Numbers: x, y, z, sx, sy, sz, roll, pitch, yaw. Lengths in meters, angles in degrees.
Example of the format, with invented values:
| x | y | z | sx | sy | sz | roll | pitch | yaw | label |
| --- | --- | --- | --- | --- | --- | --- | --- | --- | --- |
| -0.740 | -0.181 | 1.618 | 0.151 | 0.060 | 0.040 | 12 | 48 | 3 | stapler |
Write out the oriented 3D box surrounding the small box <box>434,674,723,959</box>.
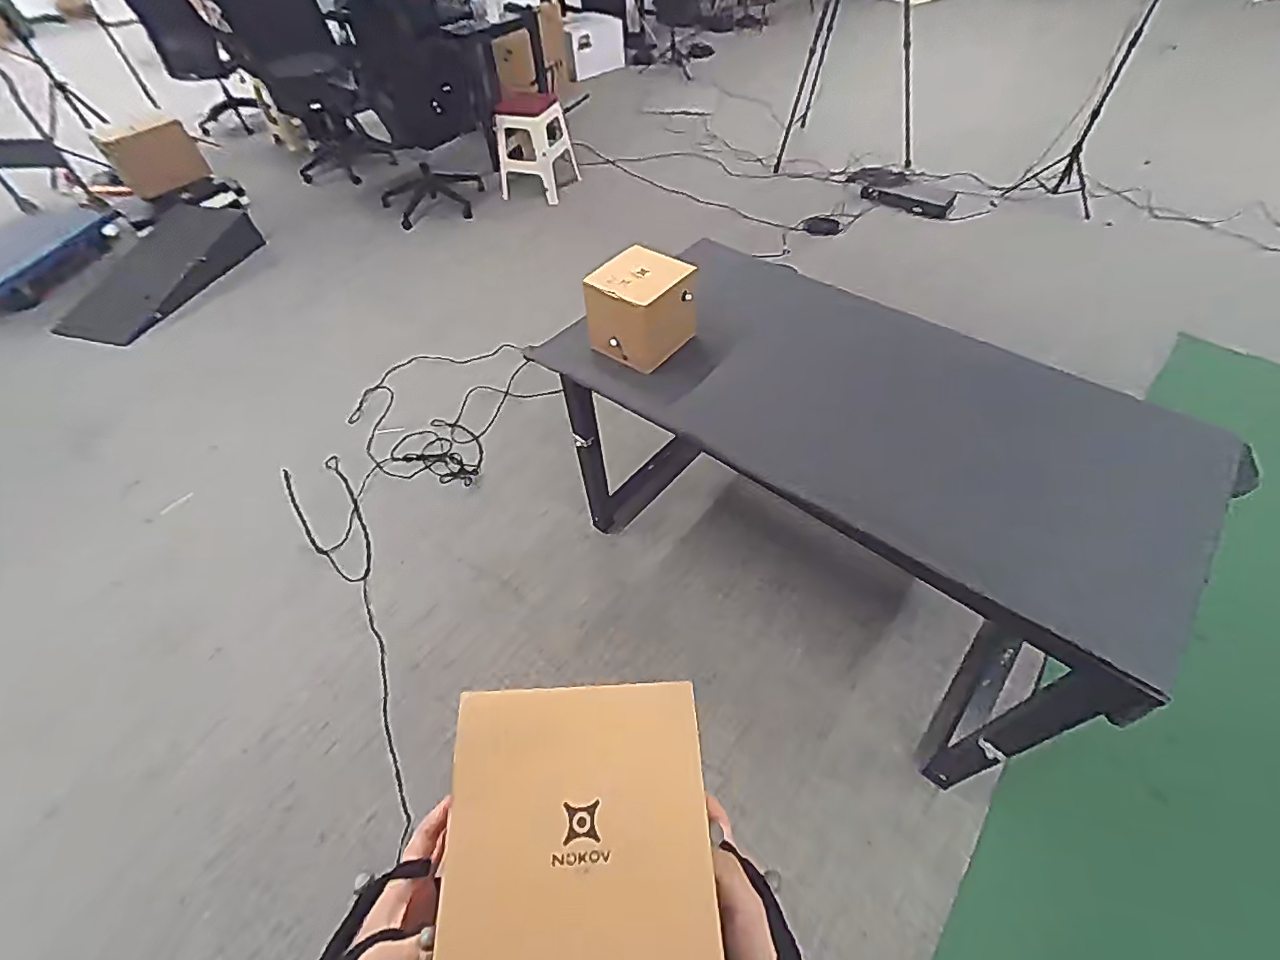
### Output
| x | y | z | sx | sy | sz | roll | pitch | yaw | label |
| --- | --- | --- | --- | --- | --- | --- | --- | --- | --- |
| -0.049 | 0.256 | 0.405 | 0.168 | 0.176 | 0.179 | 1 | 59 | -9 | small box |

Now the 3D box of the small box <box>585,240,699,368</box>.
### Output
| x | y | z | sx | sy | sz | roll | pitch | yaw | label |
| --- | --- | --- | --- | --- | --- | --- | --- | --- | --- |
| 0.005 | -0.373 | 1.148 | 0.168 | 0.176 | 0.179 | 32 | 59 | 25 | small box |
